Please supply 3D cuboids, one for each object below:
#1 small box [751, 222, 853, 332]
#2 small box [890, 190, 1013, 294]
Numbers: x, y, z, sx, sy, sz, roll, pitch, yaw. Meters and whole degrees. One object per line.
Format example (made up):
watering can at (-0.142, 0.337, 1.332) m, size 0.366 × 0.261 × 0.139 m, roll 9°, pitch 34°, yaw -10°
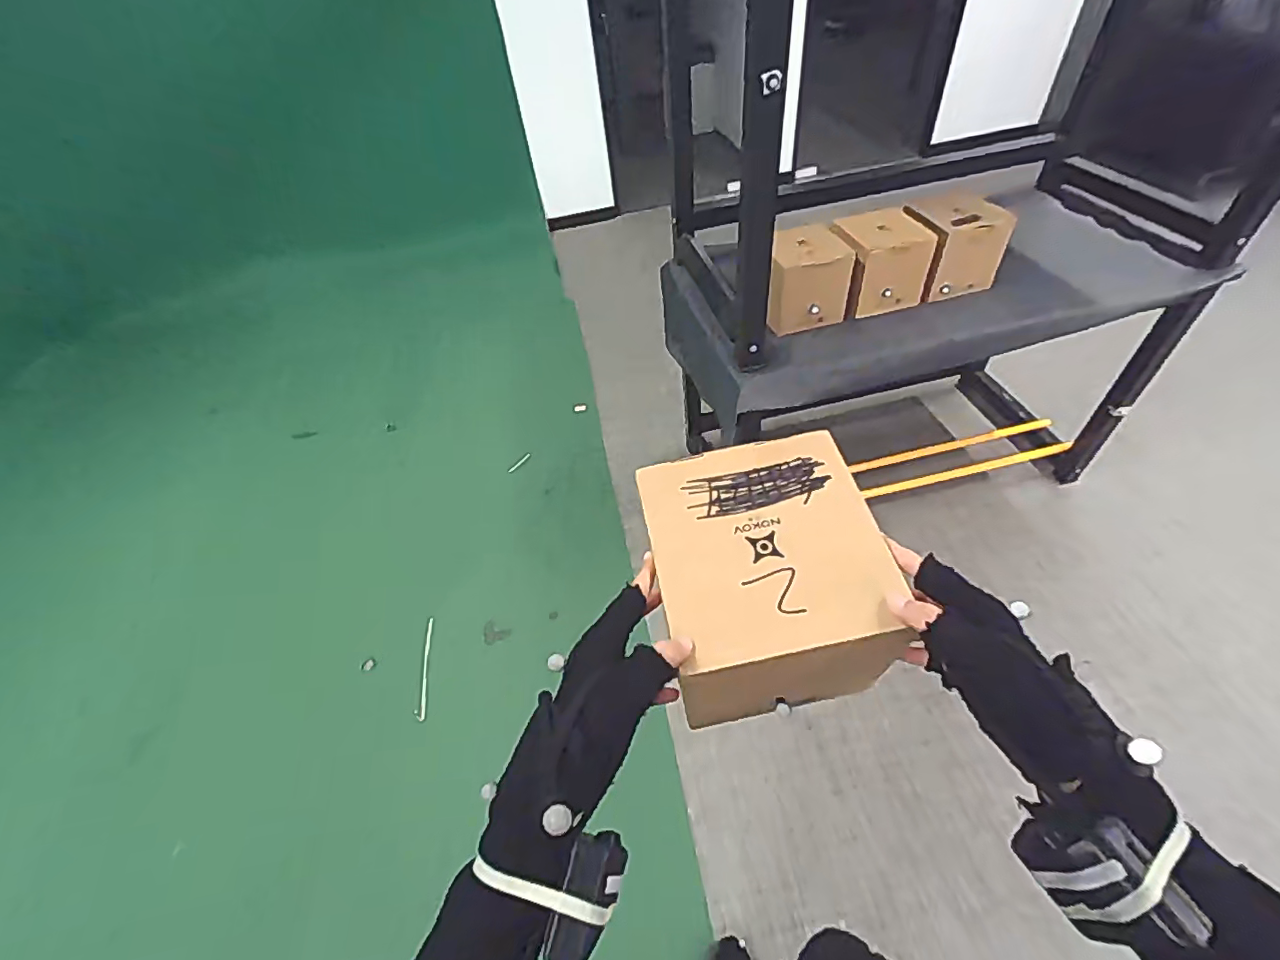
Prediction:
small box at (0.366, -0.472, 1.258) m, size 0.168 × 0.176 × 0.179 m, roll -15°, pitch 48°, yaw -5°
small box at (0.728, -0.559, 1.287) m, size 0.168 × 0.176 × 0.179 m, roll -14°, pitch 47°, yaw -5°
